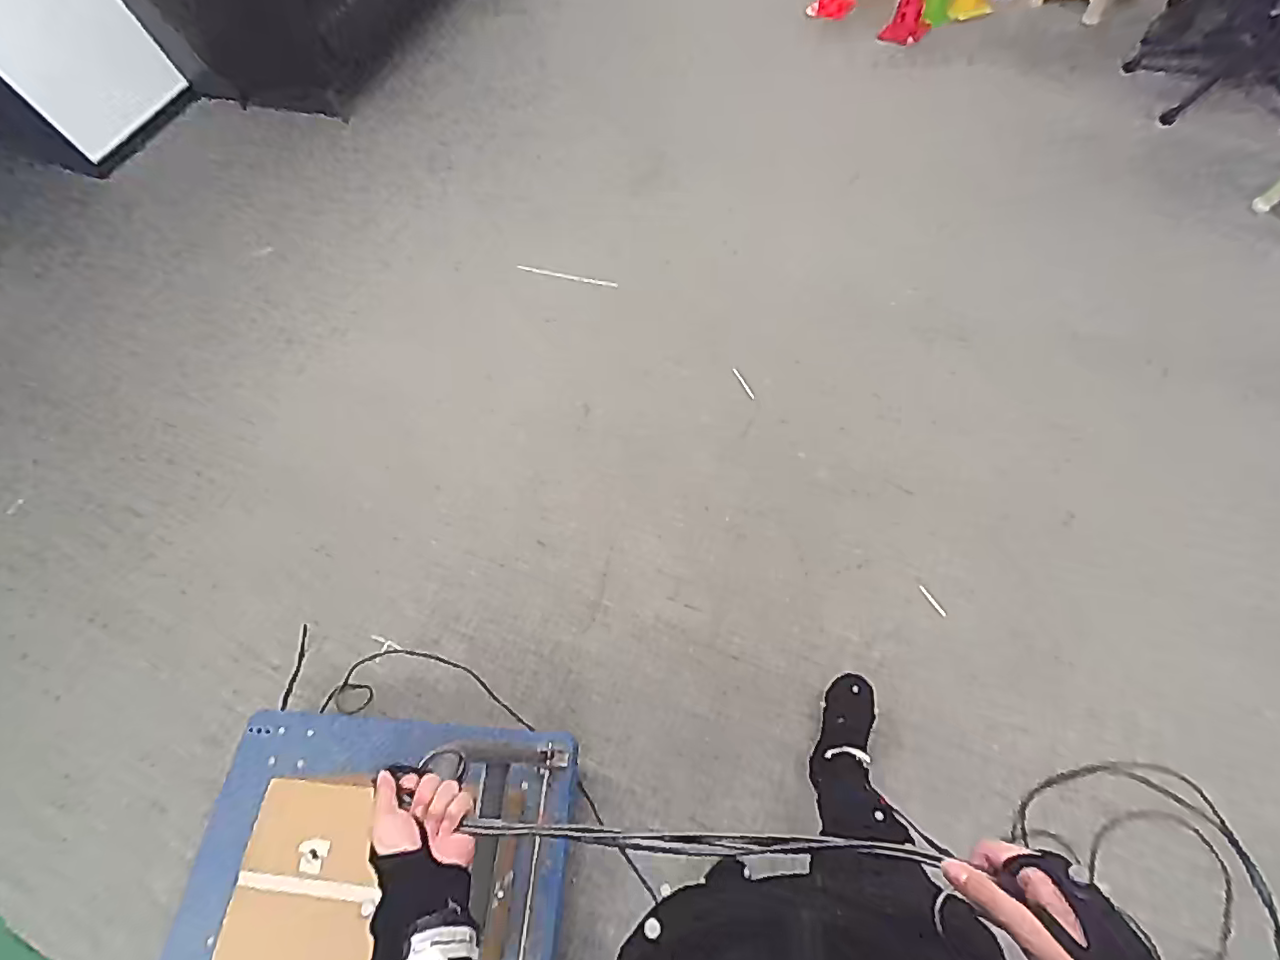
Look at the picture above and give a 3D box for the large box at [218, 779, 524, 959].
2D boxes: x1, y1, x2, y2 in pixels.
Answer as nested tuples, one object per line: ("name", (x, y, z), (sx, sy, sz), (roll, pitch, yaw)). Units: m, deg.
("large box", (-0.484, 0.779, 1.055), (0.408, 0.320, 0.320), (0, 62, 10))
